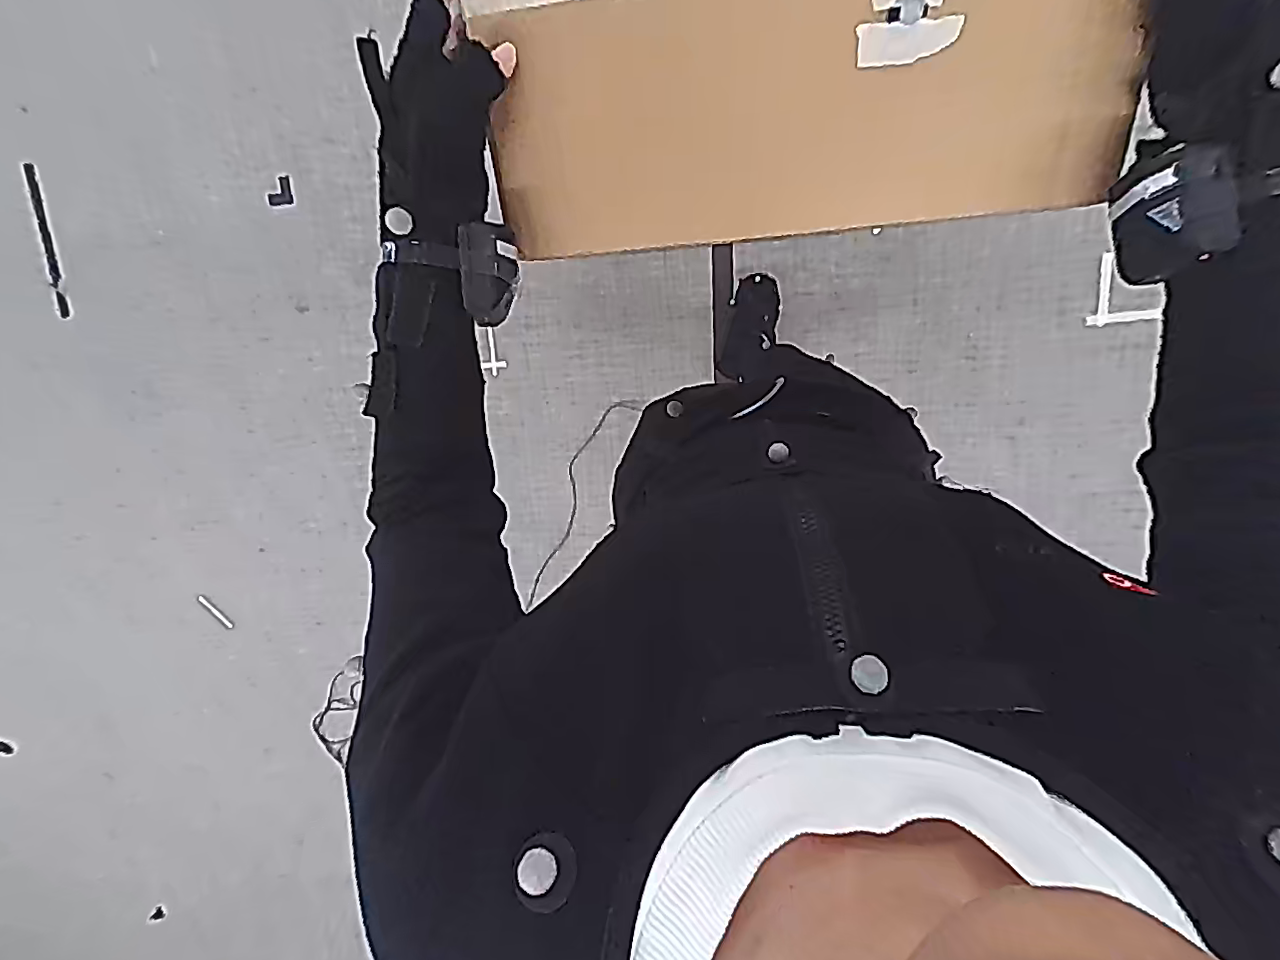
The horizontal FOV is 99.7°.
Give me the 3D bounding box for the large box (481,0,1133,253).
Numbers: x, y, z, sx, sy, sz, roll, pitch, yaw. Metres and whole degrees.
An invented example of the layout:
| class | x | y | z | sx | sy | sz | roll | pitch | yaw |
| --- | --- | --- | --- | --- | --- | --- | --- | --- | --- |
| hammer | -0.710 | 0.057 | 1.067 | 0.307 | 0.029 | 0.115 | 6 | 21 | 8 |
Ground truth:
| class | x | y | z | sx | sy | sz | roll | pitch | yaw |
| --- | --- | --- | --- | --- | --- | --- | --- | --- | --- |
| large box | 0.105 | -0.388 | 0.458 | 0.408 | 0.320 | 0.320 | -2 | 116 | 8 |
